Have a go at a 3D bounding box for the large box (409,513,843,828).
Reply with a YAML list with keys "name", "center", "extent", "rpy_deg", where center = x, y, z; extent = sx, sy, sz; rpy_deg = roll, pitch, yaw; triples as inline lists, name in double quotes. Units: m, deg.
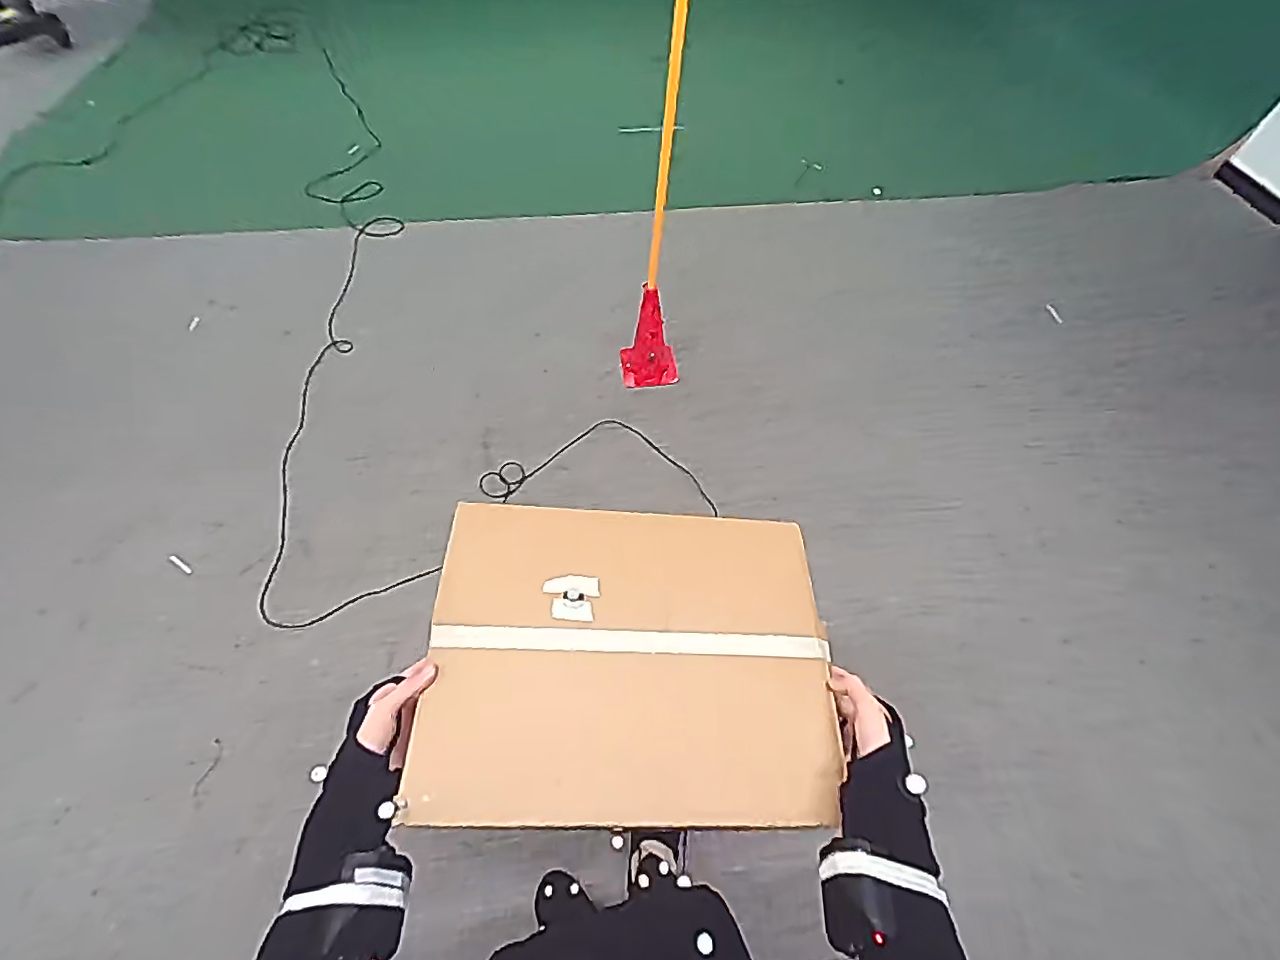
- name: "large box"
  center: [-0.019, 0.256, 0.691]
  extent: [0.408, 0.320, 0.320]
  rpy_deg: [4, 57, -5]
